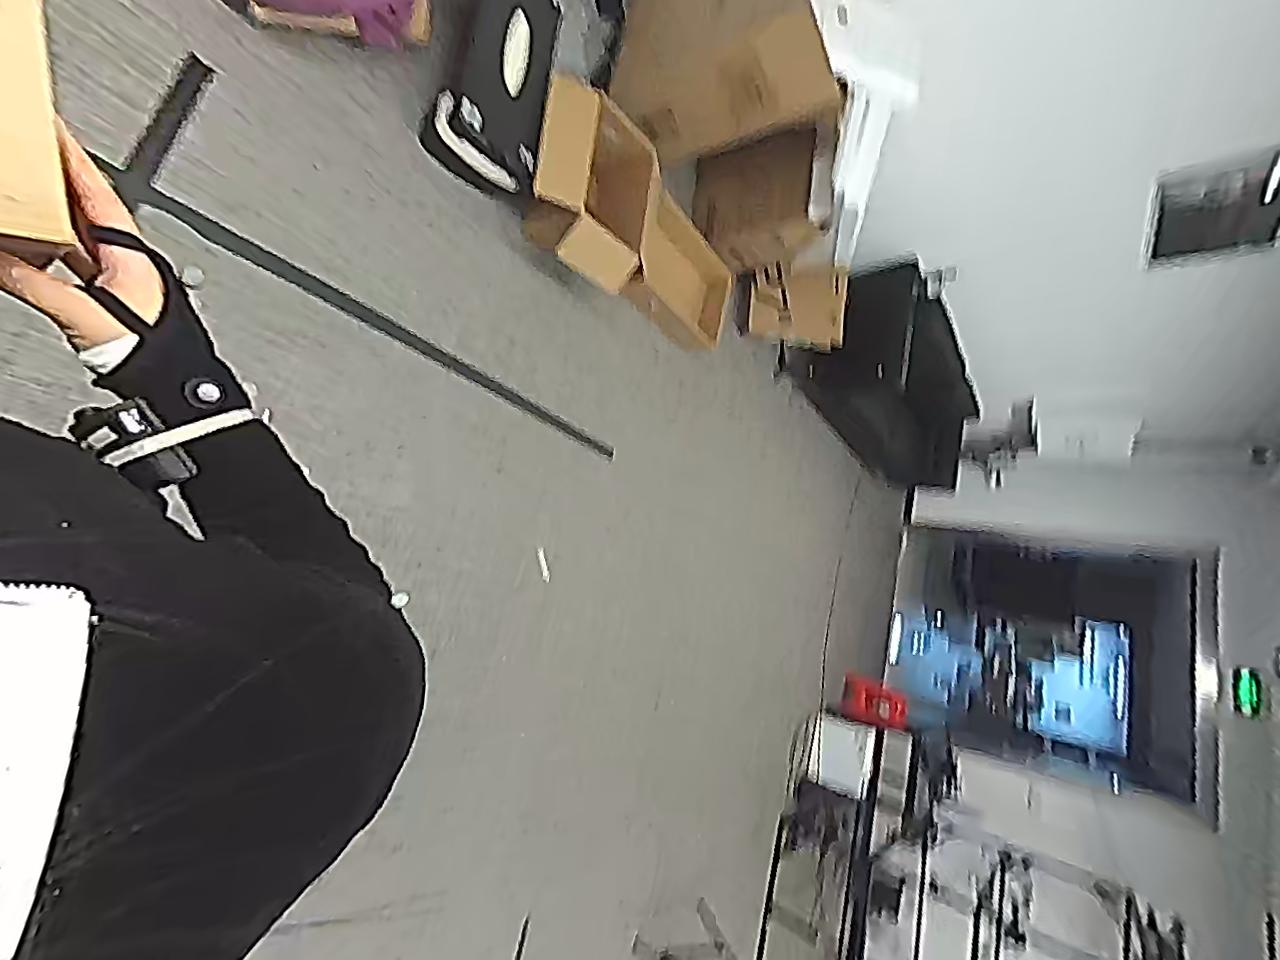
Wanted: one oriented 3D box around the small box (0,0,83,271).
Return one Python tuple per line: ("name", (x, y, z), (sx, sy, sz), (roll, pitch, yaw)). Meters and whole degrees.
("small box", (-0.415, -0.207, 0.263), (0.179, 0.176, 0.168), (-10, 106, -52))
